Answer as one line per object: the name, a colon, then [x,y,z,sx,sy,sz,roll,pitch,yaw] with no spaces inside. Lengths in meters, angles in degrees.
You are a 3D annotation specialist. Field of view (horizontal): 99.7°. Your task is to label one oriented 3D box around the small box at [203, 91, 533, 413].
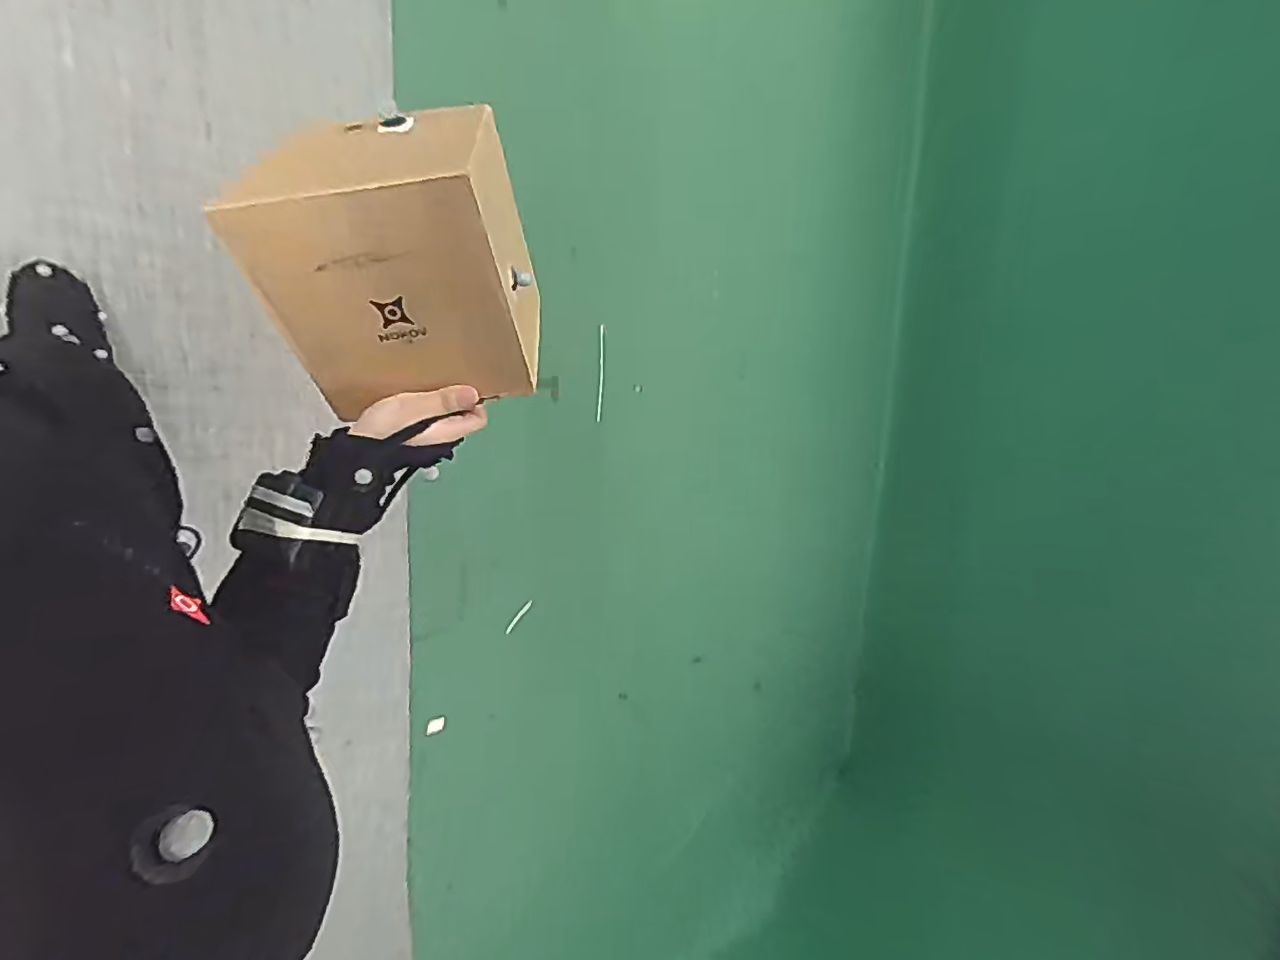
small box: [-0.185,-0.183,0.441,0.168,0.176,0.179,-10,138,-1]
